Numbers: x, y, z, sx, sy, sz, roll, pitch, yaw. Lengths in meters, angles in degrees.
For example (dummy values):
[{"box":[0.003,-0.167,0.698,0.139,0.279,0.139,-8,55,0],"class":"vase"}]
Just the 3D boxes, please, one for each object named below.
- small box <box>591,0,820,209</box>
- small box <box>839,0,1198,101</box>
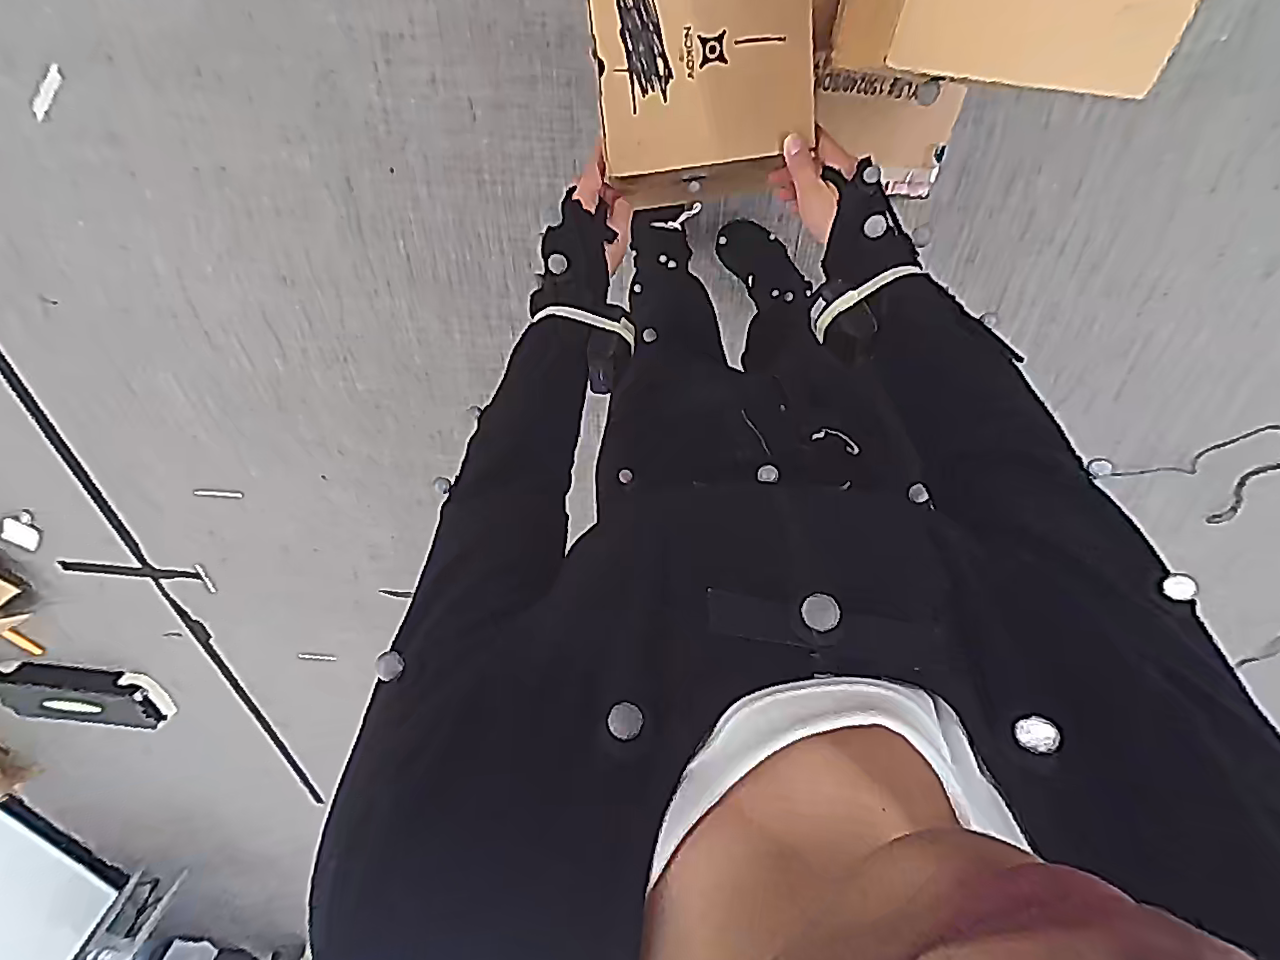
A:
[{"box":[0.059,-0.365,0.507,0.179,0.176,0.168,-6,108,5],"class":"small box"},{"box":[0.244,-0.361,0.346,0.168,0.176,0.179,6,127,-1],"class":"small box"}]
